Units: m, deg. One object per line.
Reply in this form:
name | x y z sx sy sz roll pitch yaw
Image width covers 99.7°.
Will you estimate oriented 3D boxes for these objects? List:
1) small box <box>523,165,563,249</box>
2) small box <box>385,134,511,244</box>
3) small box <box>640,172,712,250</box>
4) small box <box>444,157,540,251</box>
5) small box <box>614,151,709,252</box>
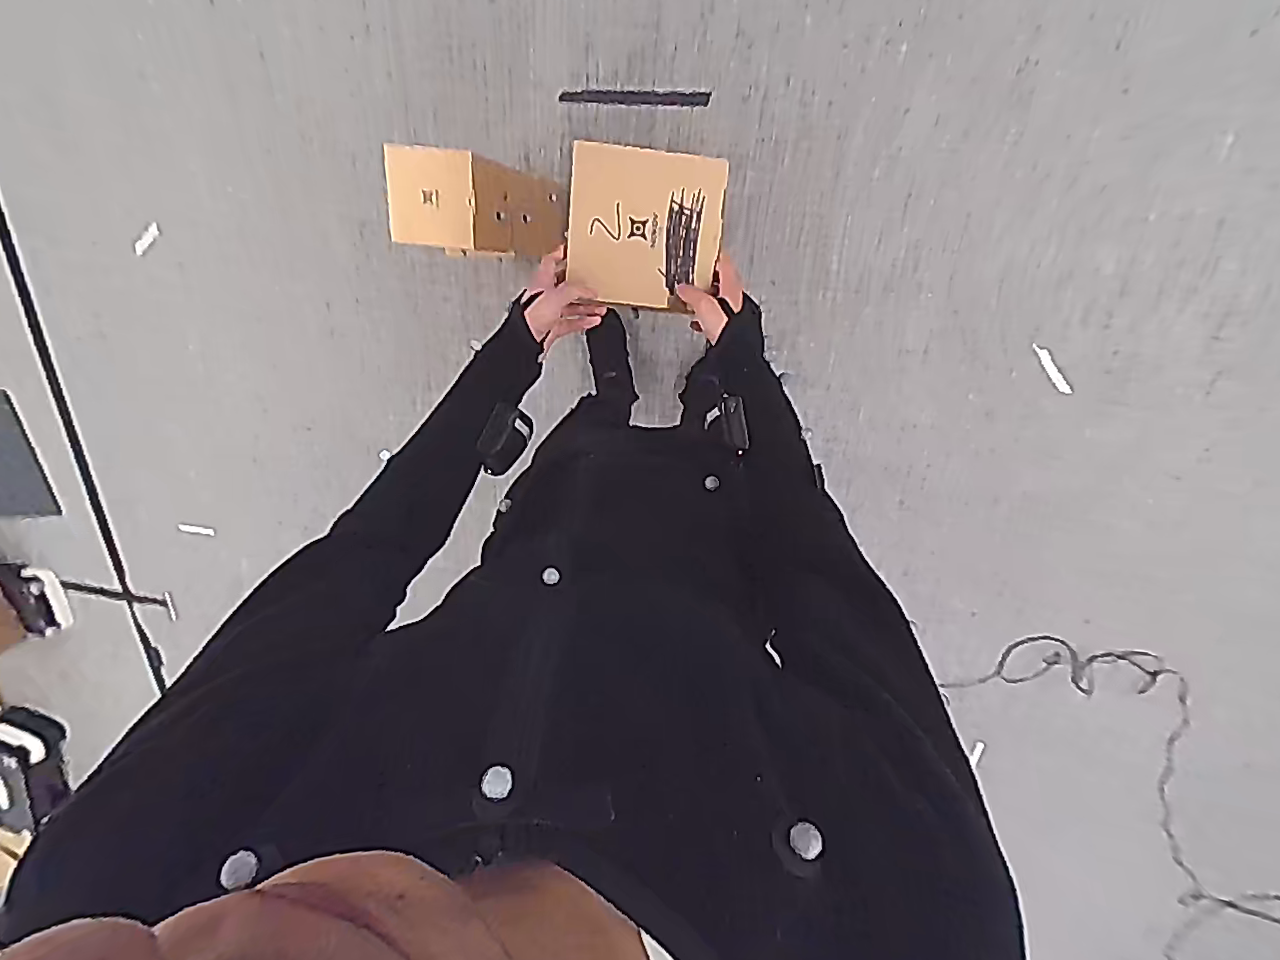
small box | -0.300 -0.681 1.367 0.168 0.176 0.179 2 113 9
small box | -0.373 -0.567 1.070 0.179 0.176 0.168 9 113 7
small box | 0.076 -0.653 1.313 0.179 0.176 0.168 9 114 6
small box | -0.335 -0.616 1.221 0.168 0.176 0.179 4 114 9
small box | 0.050 -0.591 1.162 0.179 0.176 0.168 9 113 5
